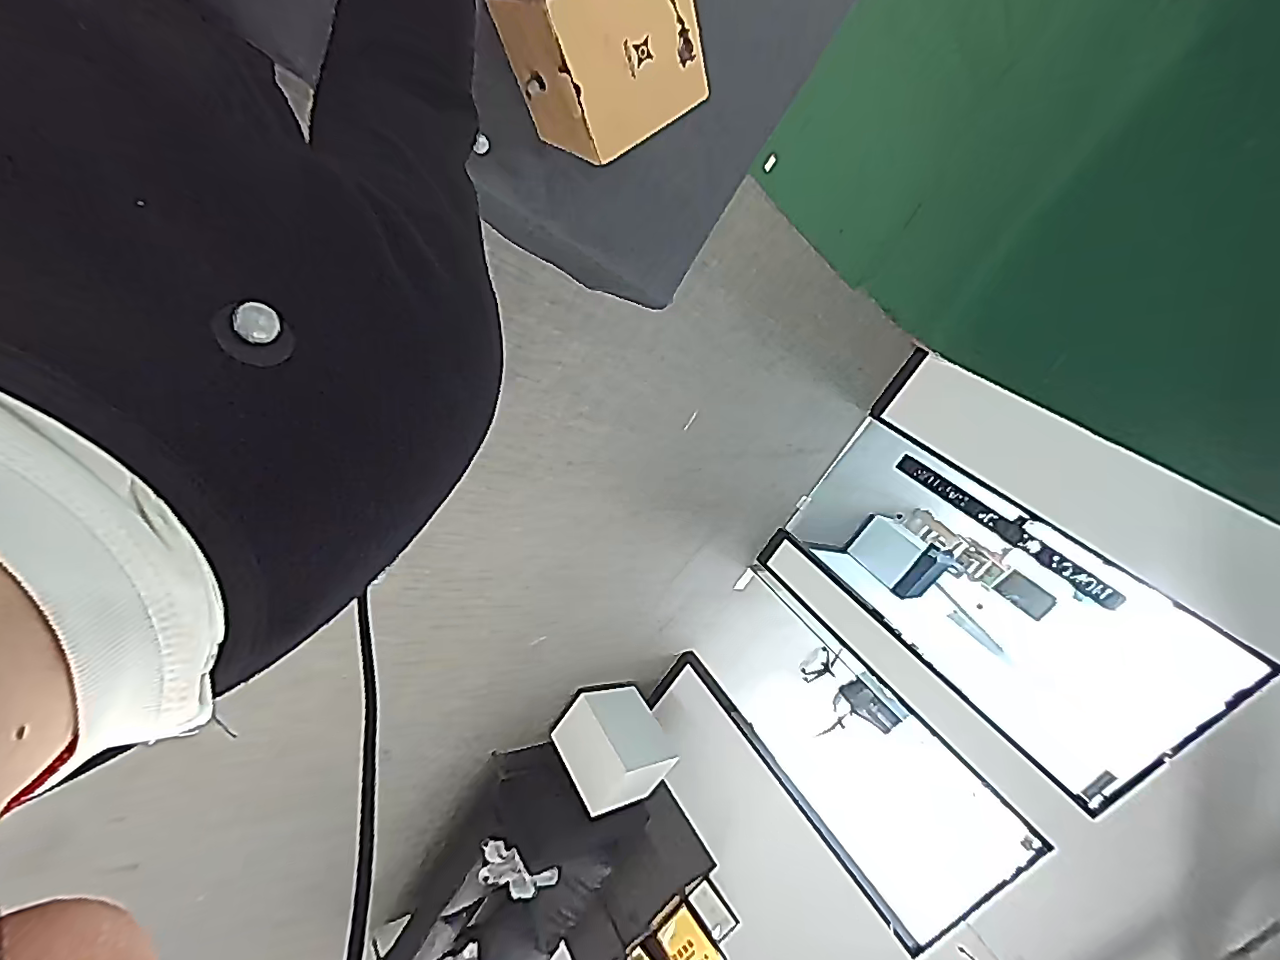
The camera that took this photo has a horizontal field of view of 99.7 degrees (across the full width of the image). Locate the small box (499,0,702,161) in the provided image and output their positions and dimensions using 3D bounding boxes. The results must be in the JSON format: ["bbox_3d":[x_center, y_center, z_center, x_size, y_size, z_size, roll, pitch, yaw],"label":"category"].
[{"bbox_3d":[-0.052,-0.531,0.665,0.179,0.176,0.168,-35,142,-8],"label":"small box"}]
